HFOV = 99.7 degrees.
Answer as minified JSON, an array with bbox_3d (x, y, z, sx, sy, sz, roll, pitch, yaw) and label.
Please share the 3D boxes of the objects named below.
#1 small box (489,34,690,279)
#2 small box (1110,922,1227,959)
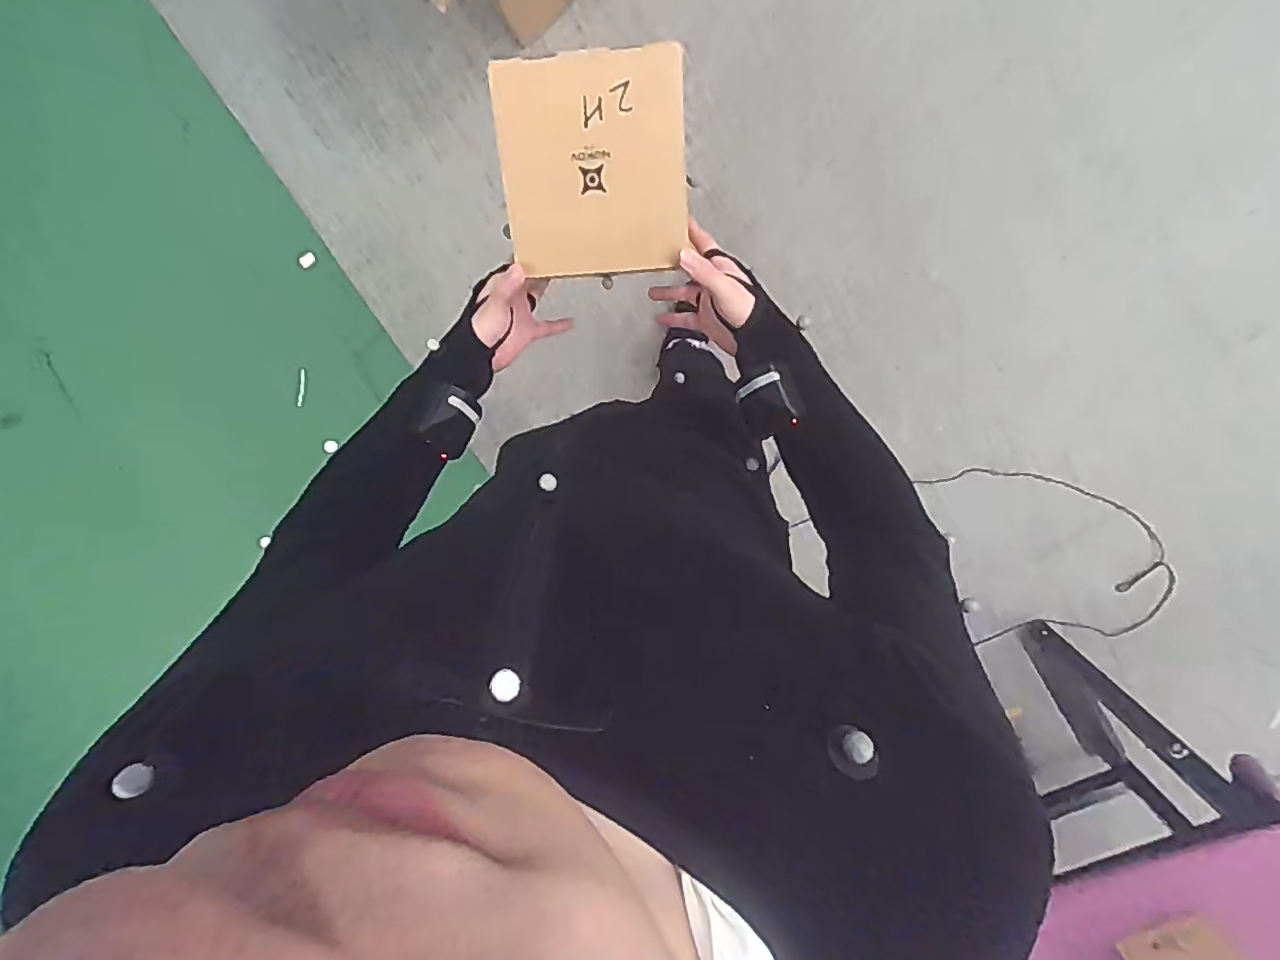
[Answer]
[{"bbox_3d":[-0.034,-0.300,0.539,0.168,0.176,0.179,-2,110,4],"label":"small box"},{"bbox_3d":[1.029,0.970,0.989,0.168,0.176,0.179,-32,101,12],"label":"small box"}]
